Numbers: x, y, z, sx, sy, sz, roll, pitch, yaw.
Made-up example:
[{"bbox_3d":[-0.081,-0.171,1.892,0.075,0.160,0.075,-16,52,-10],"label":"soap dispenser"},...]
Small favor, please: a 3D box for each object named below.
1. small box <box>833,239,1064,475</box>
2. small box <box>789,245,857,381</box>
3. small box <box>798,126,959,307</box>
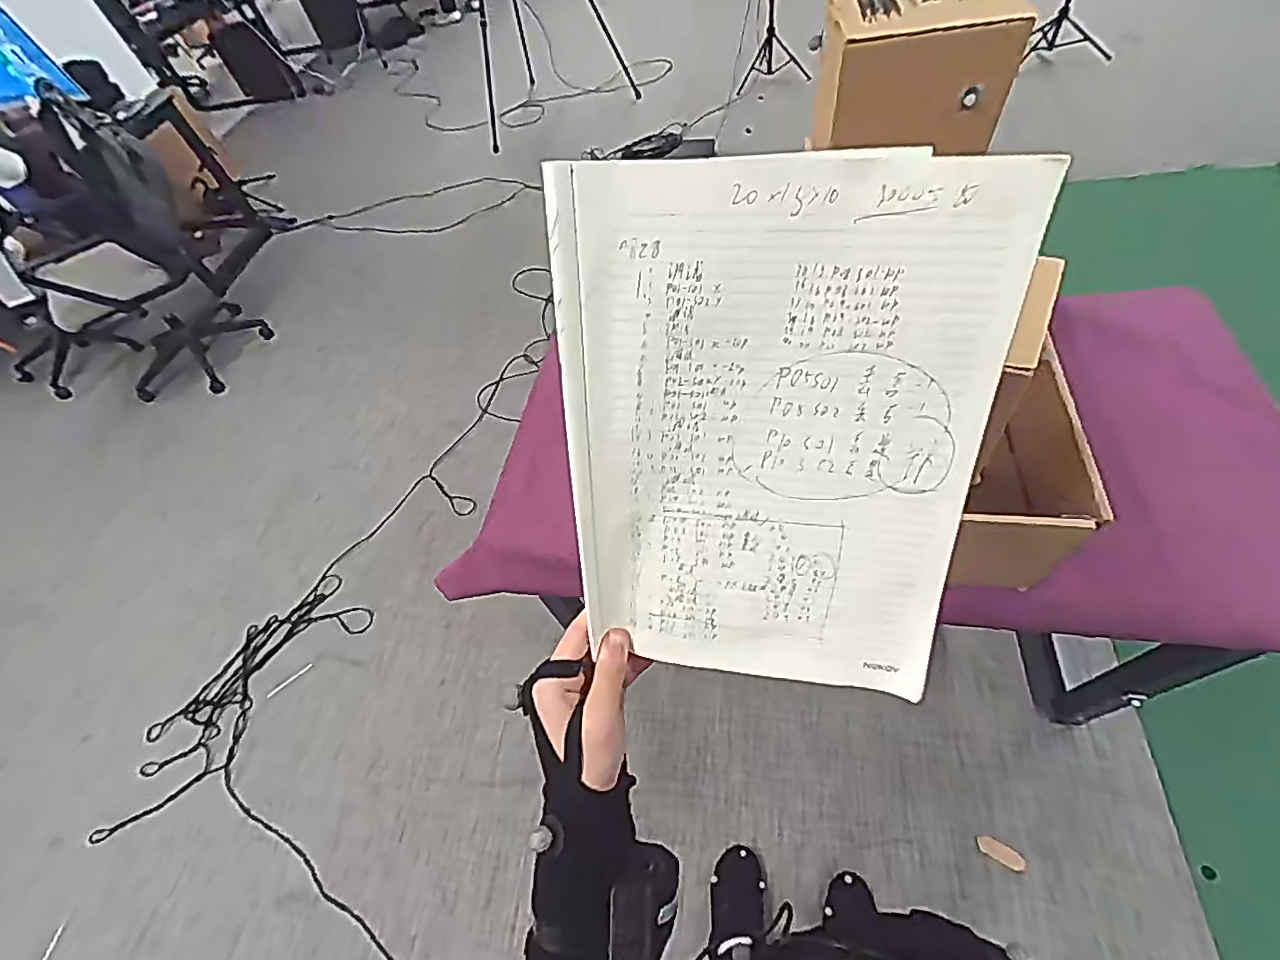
[{"bbox_3d":[0.324,-0.133,0.597,0.168,0.176,0.179,21,61,25],"label":"small box"},{"bbox_3d":[0.339,-0.277,0.899,0.168,0.176,0.179,3,59,13],"label":"small box"},{"bbox_3d":[0.318,-0.362,0.763,0.179,0.176,0.168,1,58,12],"label":"small box"}]
